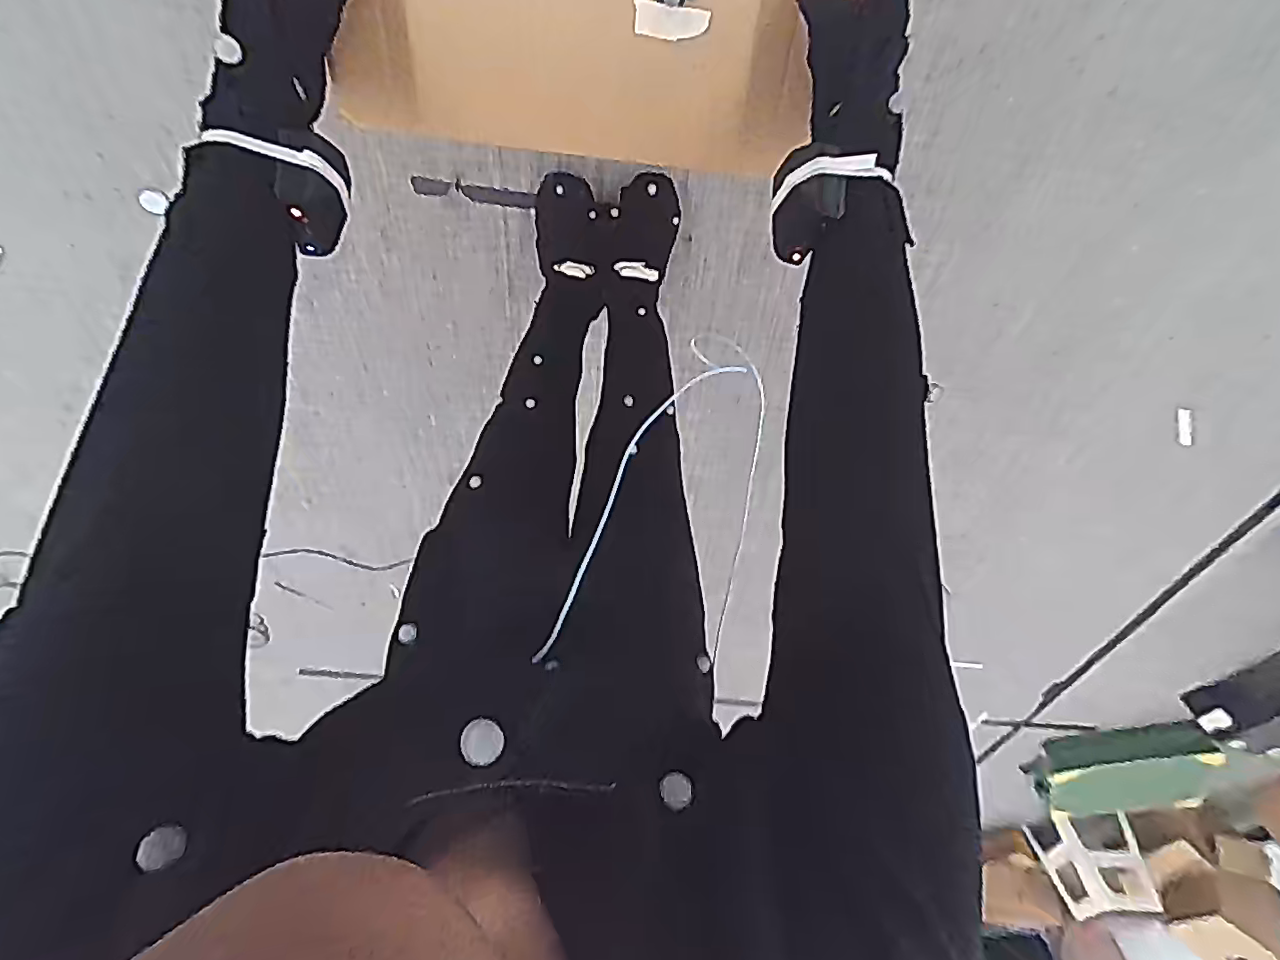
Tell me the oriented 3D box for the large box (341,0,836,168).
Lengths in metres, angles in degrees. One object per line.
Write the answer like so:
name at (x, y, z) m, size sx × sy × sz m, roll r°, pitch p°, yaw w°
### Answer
large box at (-0.041, -0.513, 0.524) m, size 0.408 × 0.320 × 0.320 m, roll 3°, pitch 127°, yaw -5°
